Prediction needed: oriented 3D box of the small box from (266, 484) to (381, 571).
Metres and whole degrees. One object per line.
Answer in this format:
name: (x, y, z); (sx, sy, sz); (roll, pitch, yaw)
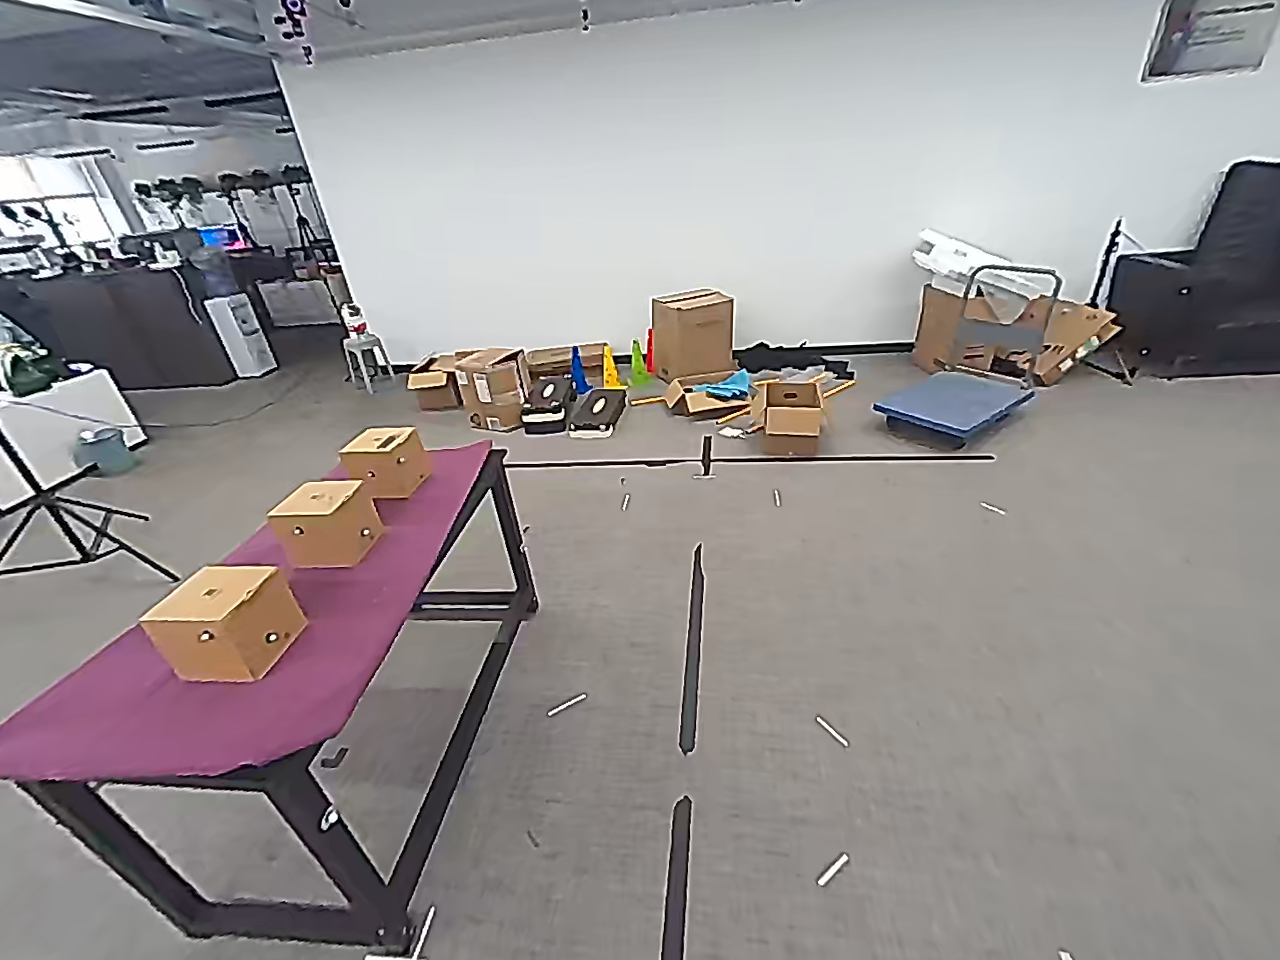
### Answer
small box: (-0.822, 0.125, 1.422); (0.179, 0.176, 0.168); (-1, 31, 6)

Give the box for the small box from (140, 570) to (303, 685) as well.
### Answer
small box: (-0.849, 0.303, 1.118); (0.179, 0.176, 0.168); (-1, 29, 5)
